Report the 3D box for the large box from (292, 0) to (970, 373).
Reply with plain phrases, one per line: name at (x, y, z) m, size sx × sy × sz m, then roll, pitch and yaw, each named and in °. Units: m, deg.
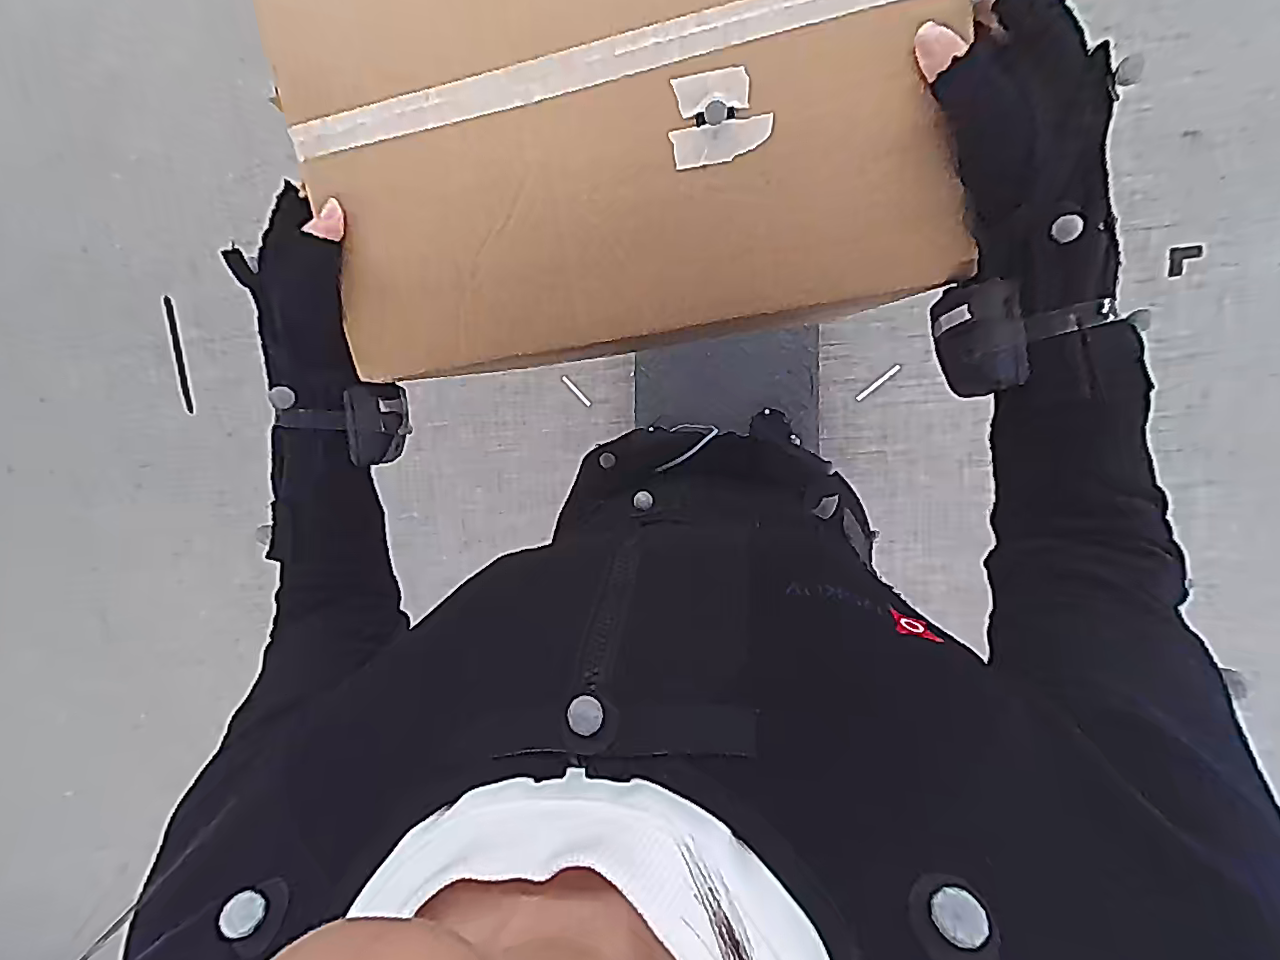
large box at (0.001, -0.285, 0.476) m, size 0.408 × 0.320 × 0.320 m, roll -7°, pitch 103°, yaw 10°
